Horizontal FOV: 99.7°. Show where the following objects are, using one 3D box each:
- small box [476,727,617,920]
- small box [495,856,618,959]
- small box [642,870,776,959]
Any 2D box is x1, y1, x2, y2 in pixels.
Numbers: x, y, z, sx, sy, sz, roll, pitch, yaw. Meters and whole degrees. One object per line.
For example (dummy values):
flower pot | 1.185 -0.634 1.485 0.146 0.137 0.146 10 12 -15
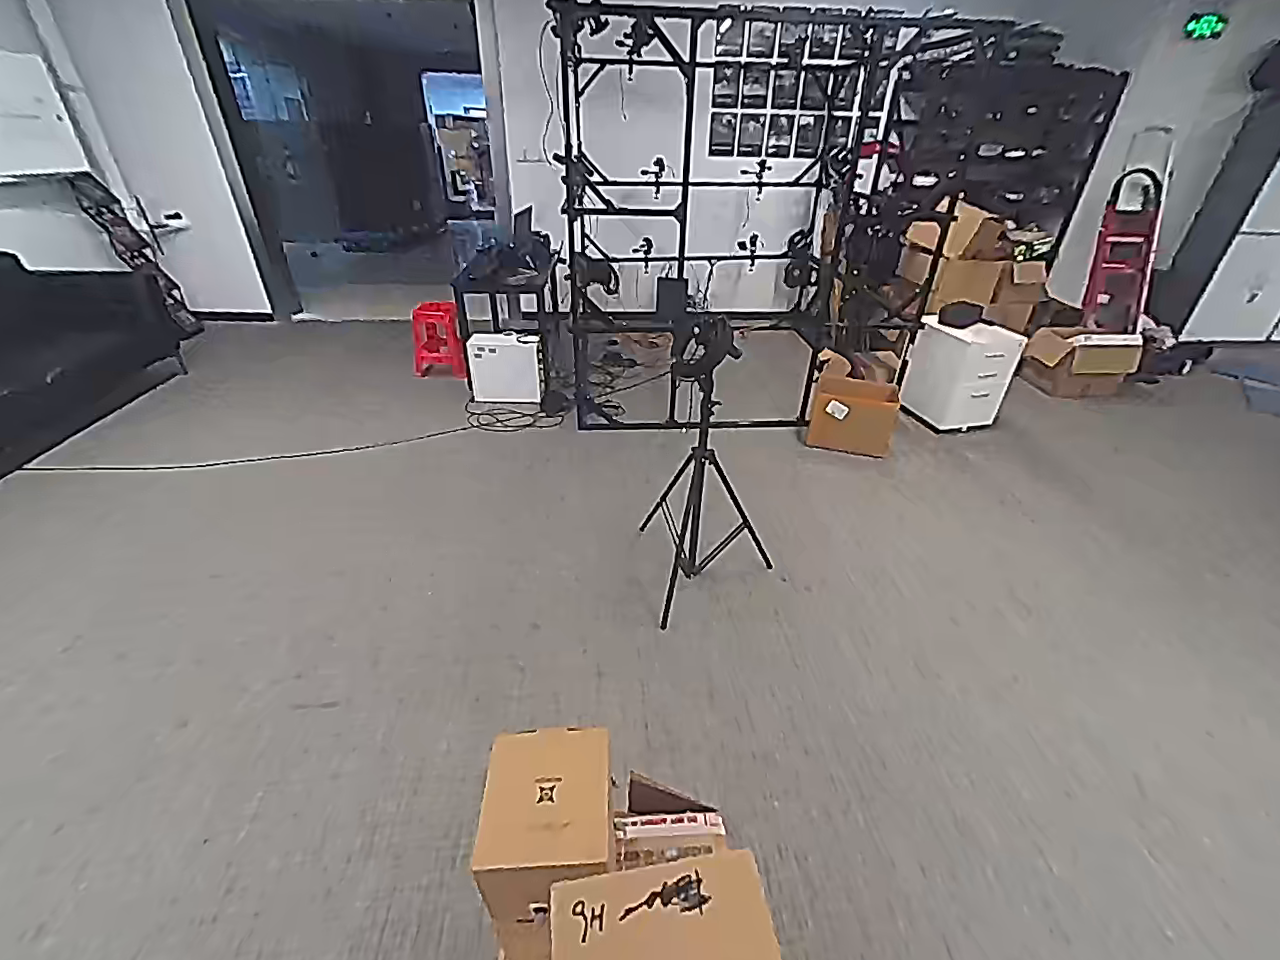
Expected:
small box | -0.119 0.478 0.760 0.168 0.176 0.179 -3 34 -2
small box | -0.121 0.613 0.851 0.168 0.176 0.179 -2 34 -2
small box | 0.091 0.682 0.754 0.168 0.176 0.179 -1 34 -4
